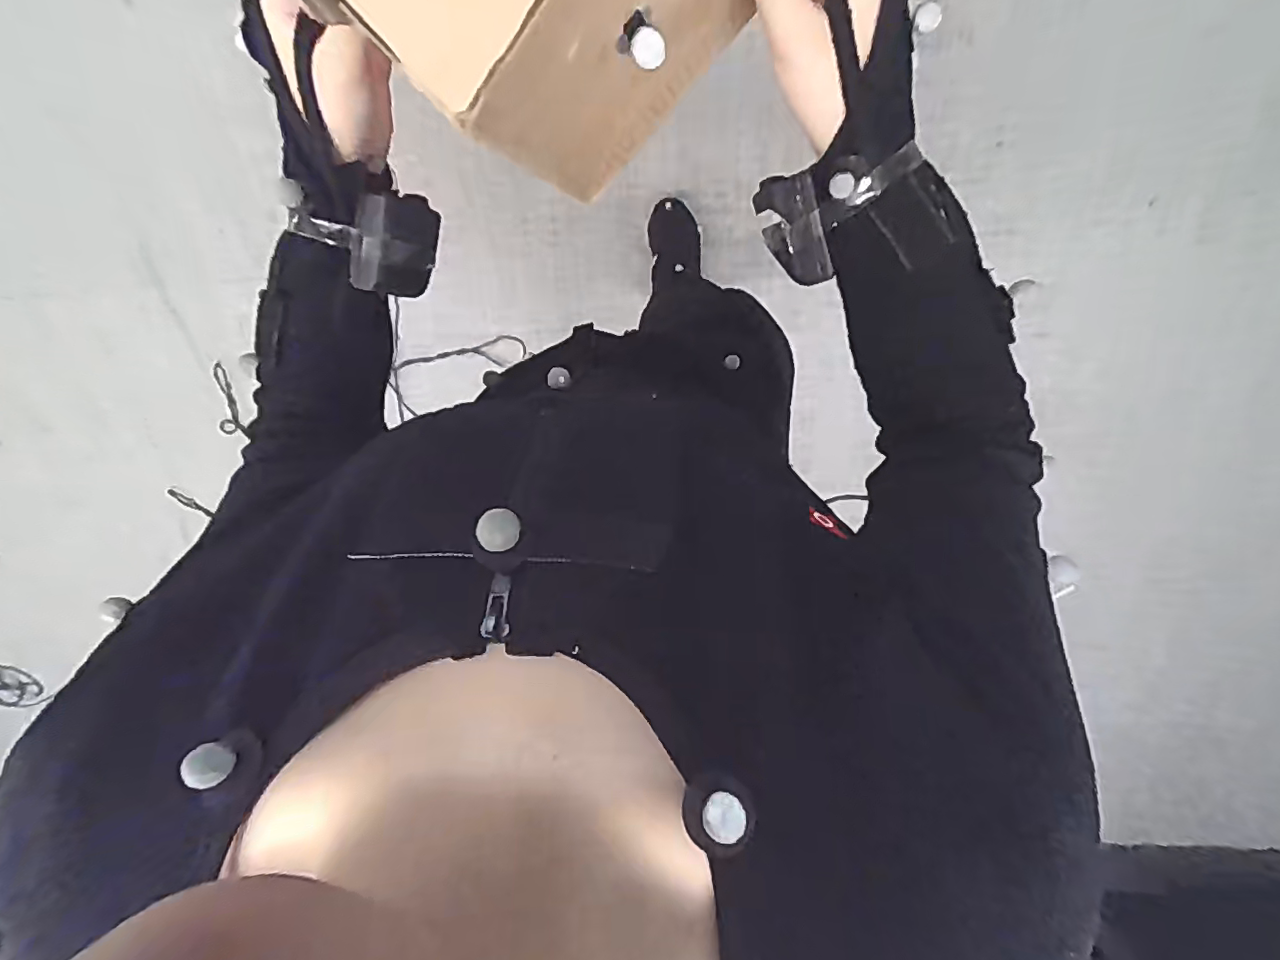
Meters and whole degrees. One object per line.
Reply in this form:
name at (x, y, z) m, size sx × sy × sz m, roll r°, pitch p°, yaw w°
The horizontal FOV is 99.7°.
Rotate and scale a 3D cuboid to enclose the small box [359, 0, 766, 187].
small box at (-0.039, -0.268, 0.239) m, size 0.179 × 0.176 × 0.168 m, roll -42°, pitch 95°, yaw 20°
